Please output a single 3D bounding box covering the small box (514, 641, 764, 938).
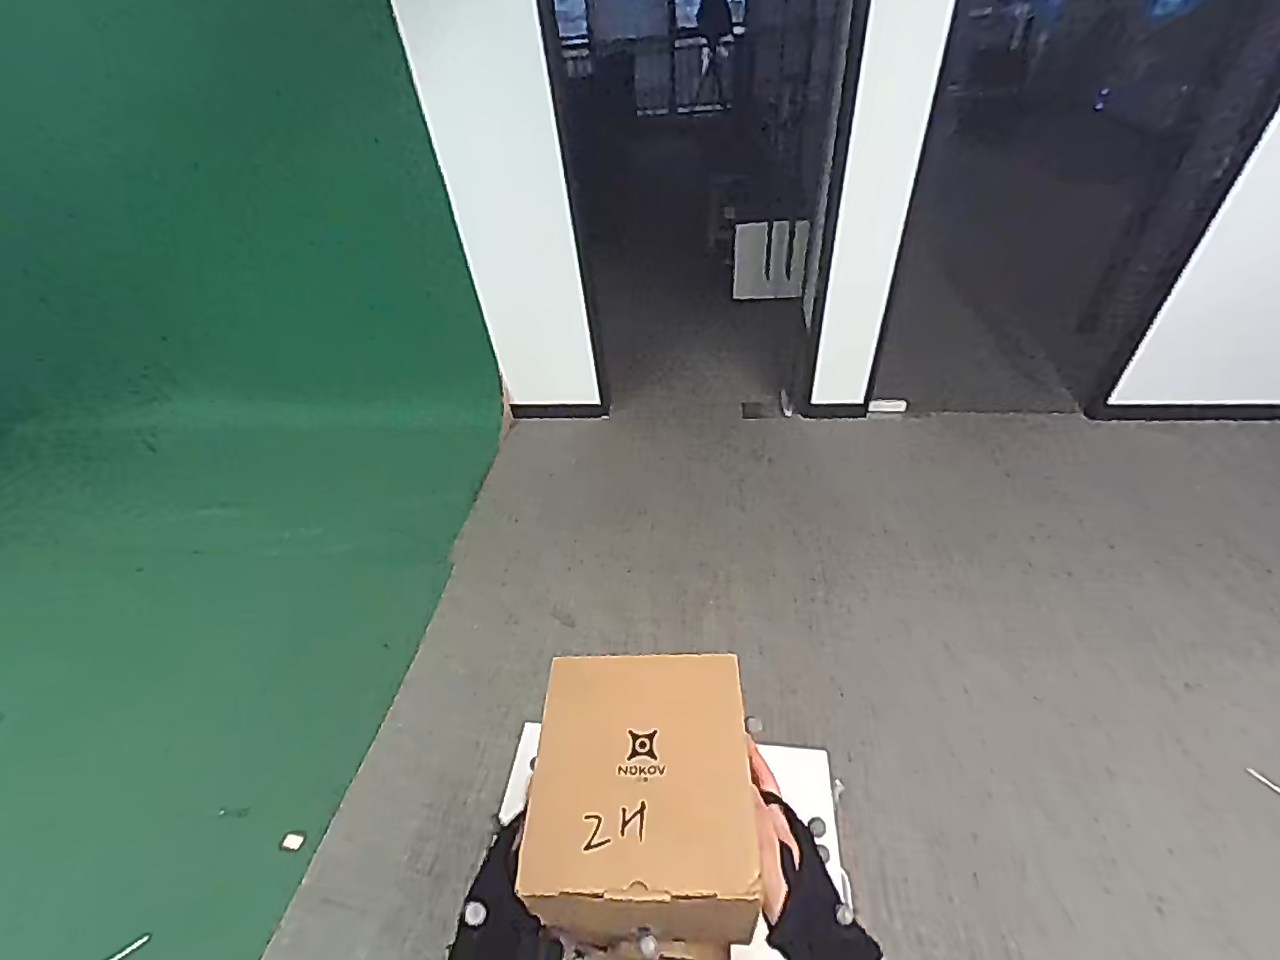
[{"bbox_3d":[0.007,0.260,0.461,0.168,0.176,0.179,-3,42,5],"label":"small box"}]
